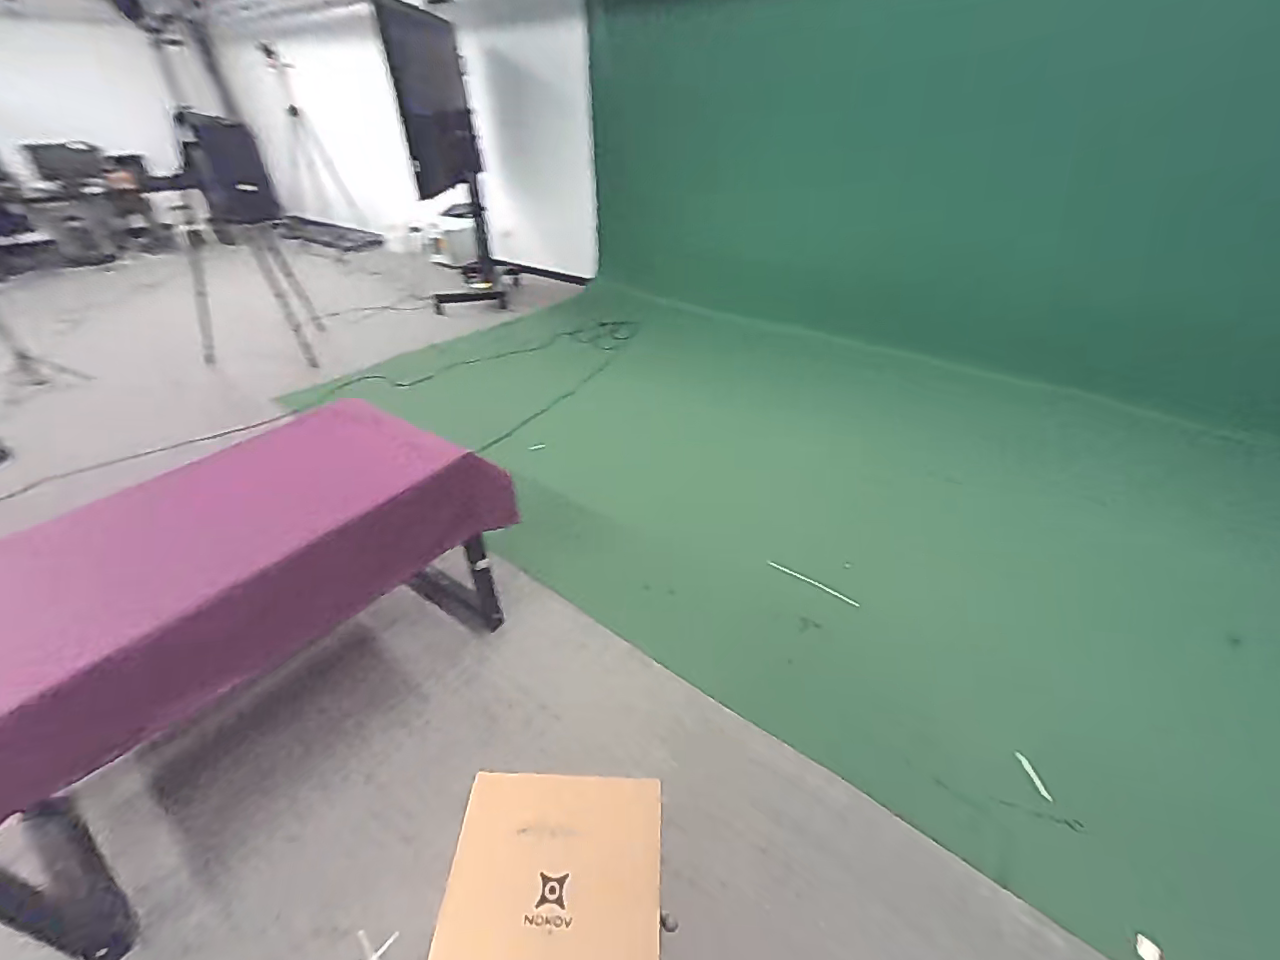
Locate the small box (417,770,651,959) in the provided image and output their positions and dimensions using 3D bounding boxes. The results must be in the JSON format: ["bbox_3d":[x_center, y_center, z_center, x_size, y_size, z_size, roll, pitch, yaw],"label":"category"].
[{"bbox_3d":[-0.075,0.378,0.465,0.168,0.176,0.179,2,40,1],"label":"small box"}]
